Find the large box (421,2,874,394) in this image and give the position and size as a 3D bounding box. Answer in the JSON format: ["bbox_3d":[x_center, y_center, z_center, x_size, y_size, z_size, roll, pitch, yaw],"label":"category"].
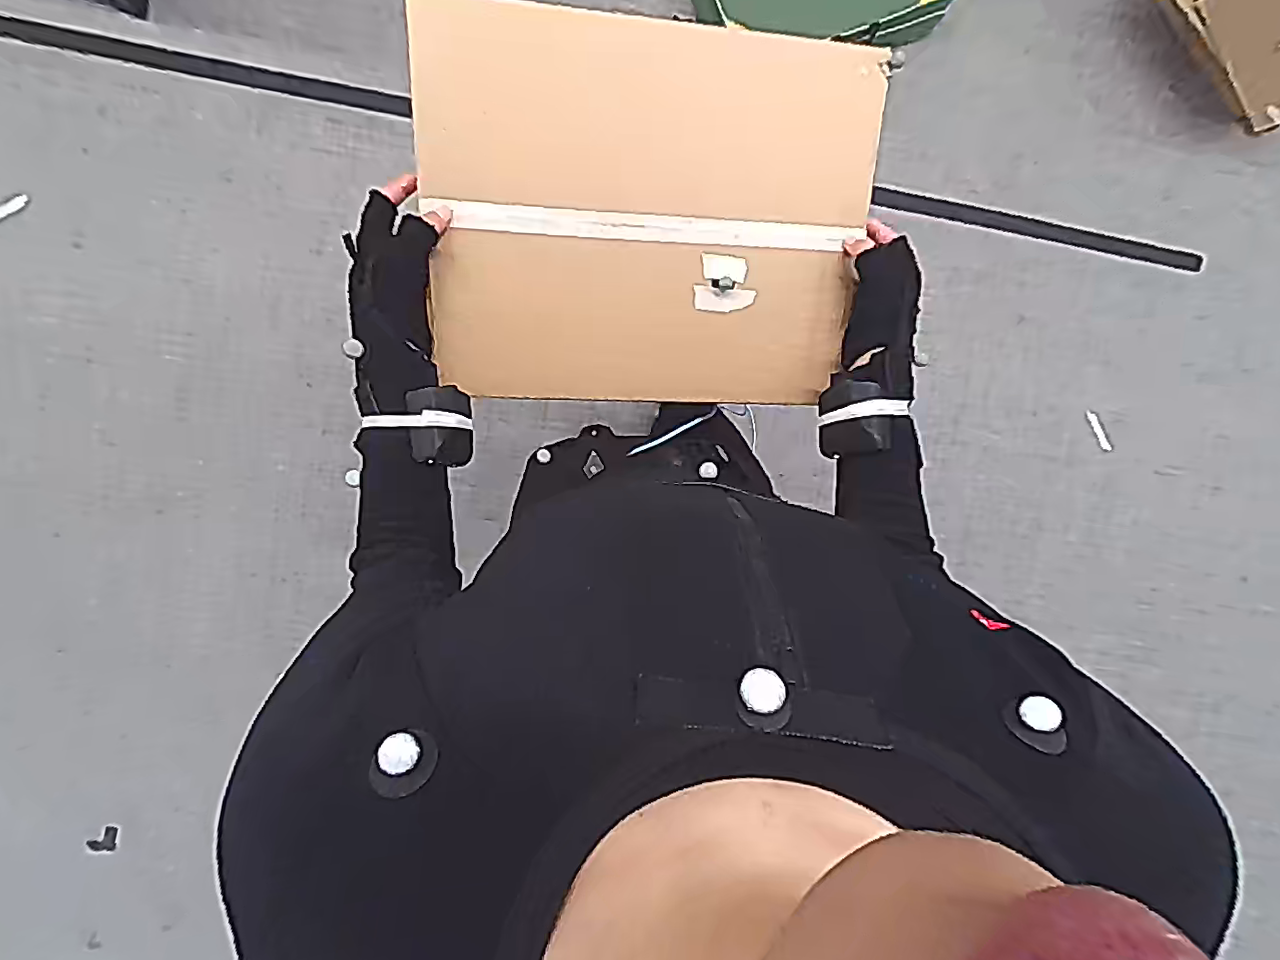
[{"bbox_3d":[-0.010,-0.280,0.645,0.408,0.320,0.320,1,108,-9],"label":"large box"}]
